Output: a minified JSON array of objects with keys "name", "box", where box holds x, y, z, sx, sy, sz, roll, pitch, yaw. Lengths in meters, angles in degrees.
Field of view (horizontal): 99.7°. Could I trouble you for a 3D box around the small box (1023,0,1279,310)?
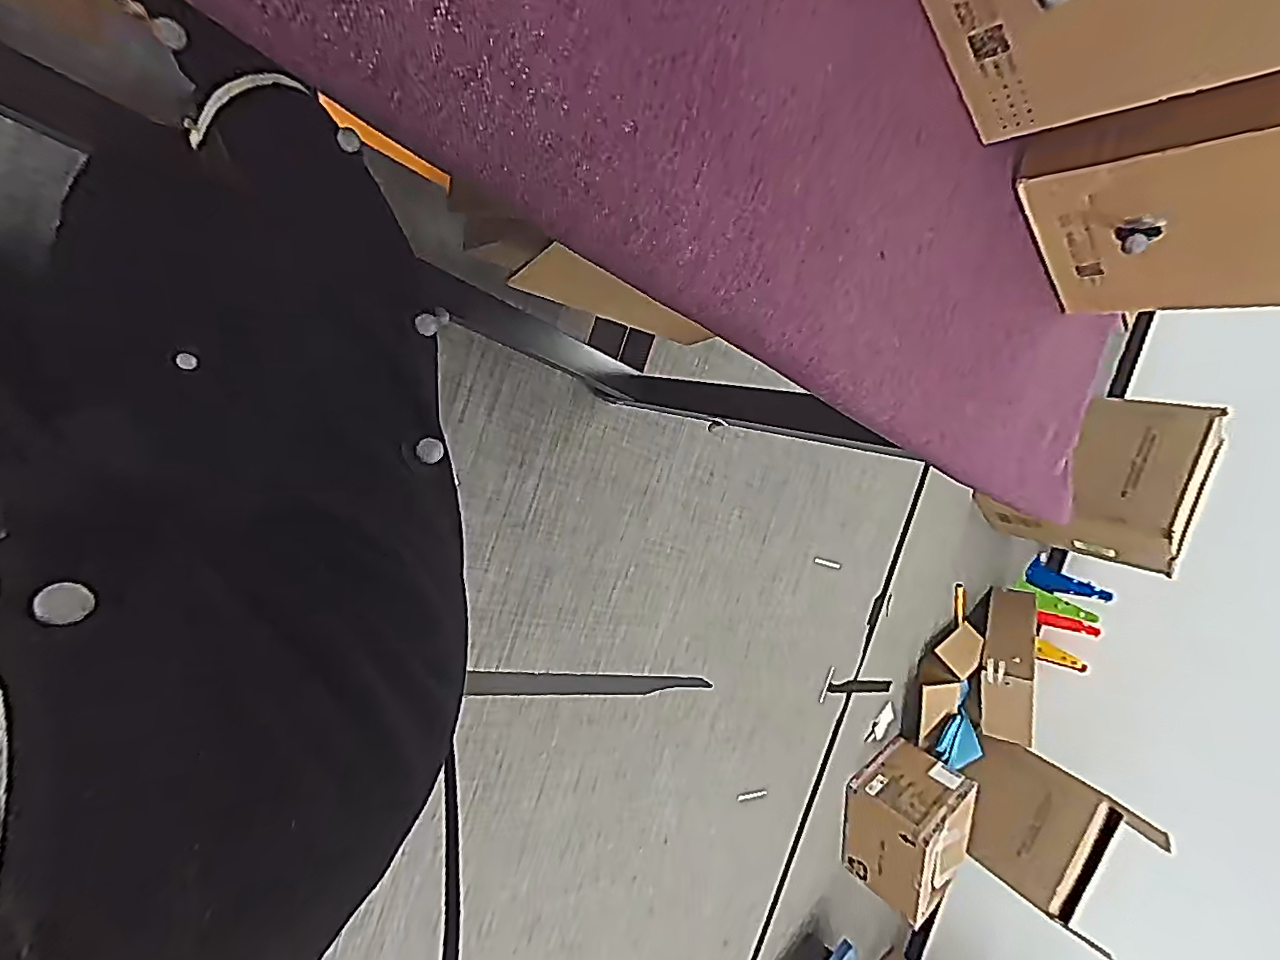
[{"name":"small box","box":[0.365,-0.222,0.326,0.168,0.176,0.179,23,87,-40]}]
